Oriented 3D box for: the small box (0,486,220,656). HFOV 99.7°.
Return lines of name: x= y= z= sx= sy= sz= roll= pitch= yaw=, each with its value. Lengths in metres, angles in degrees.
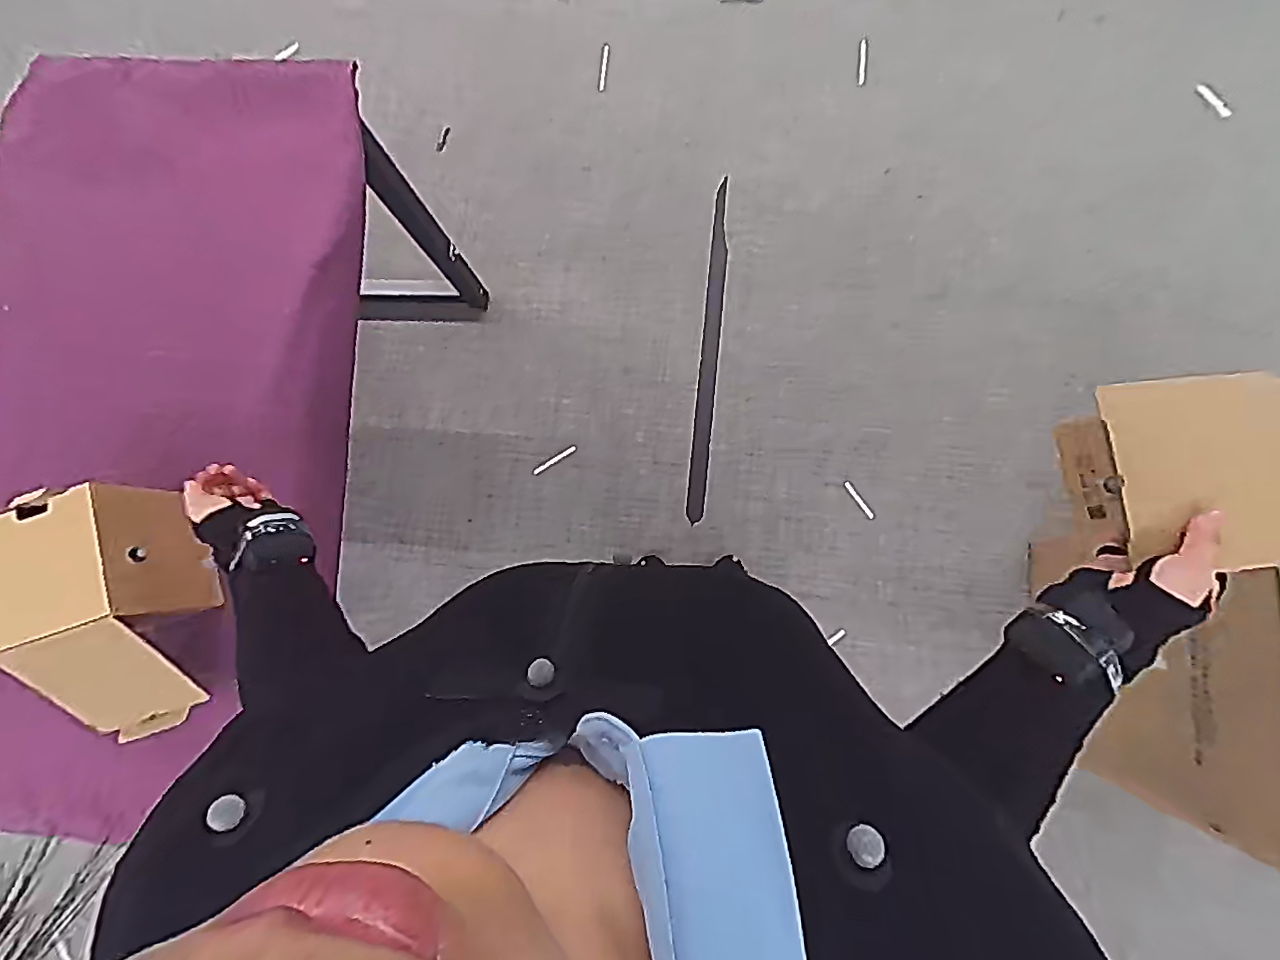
small box: x=-0.731 y=0.122 z=0.750 sx=0.168 sy=0.176 sz=0.179 roll=-18 pitch=80 yaw=1
